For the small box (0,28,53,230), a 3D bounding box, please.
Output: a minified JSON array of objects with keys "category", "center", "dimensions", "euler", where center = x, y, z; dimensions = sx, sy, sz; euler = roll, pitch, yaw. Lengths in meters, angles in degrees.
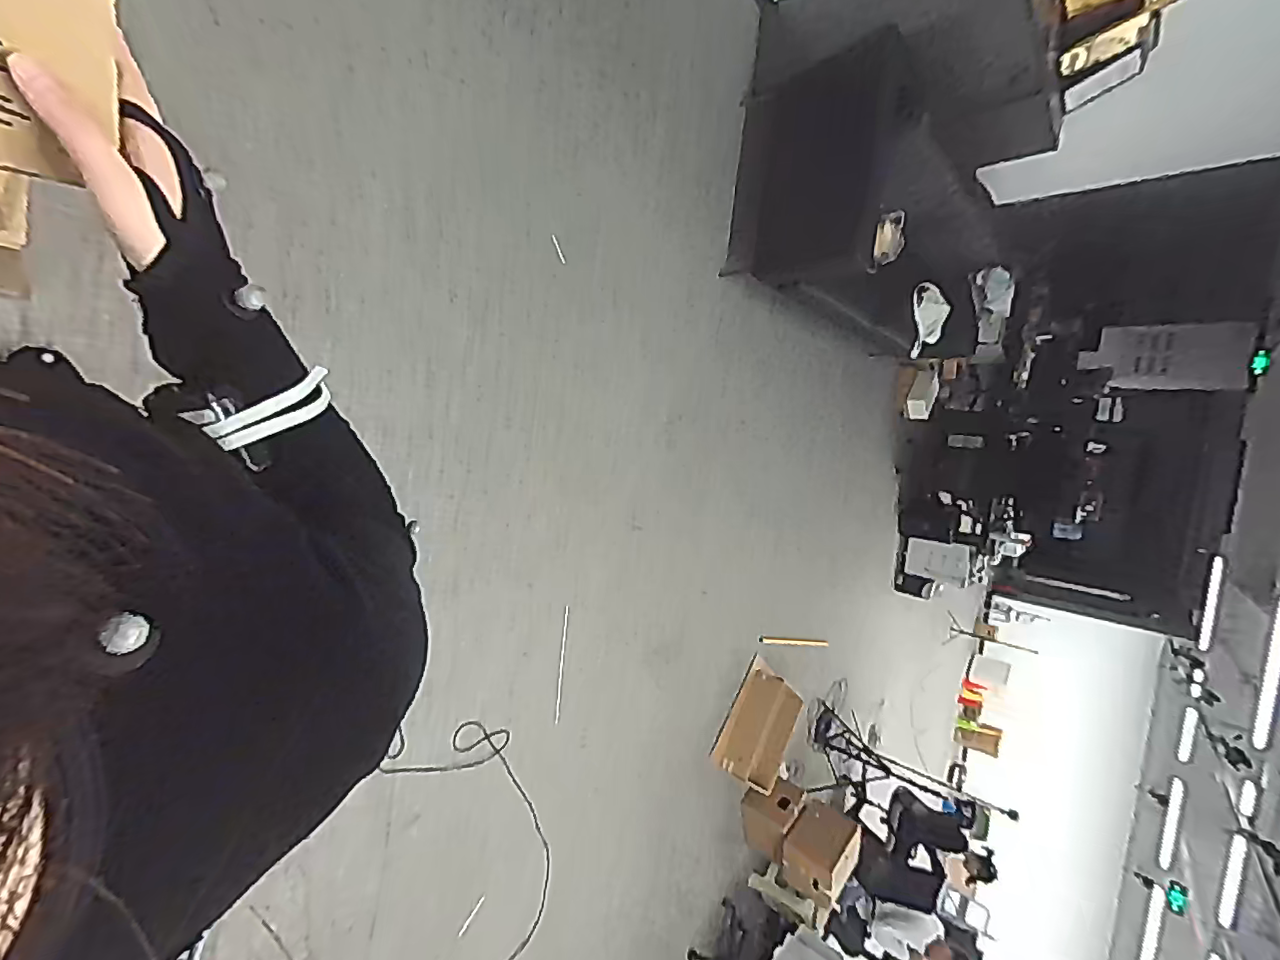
[{"category":"small box","center":[-0.766,-0.399,0.577],"dimensions":[0.168,0.176,0.179],"euler":[12,88,-47]}]
